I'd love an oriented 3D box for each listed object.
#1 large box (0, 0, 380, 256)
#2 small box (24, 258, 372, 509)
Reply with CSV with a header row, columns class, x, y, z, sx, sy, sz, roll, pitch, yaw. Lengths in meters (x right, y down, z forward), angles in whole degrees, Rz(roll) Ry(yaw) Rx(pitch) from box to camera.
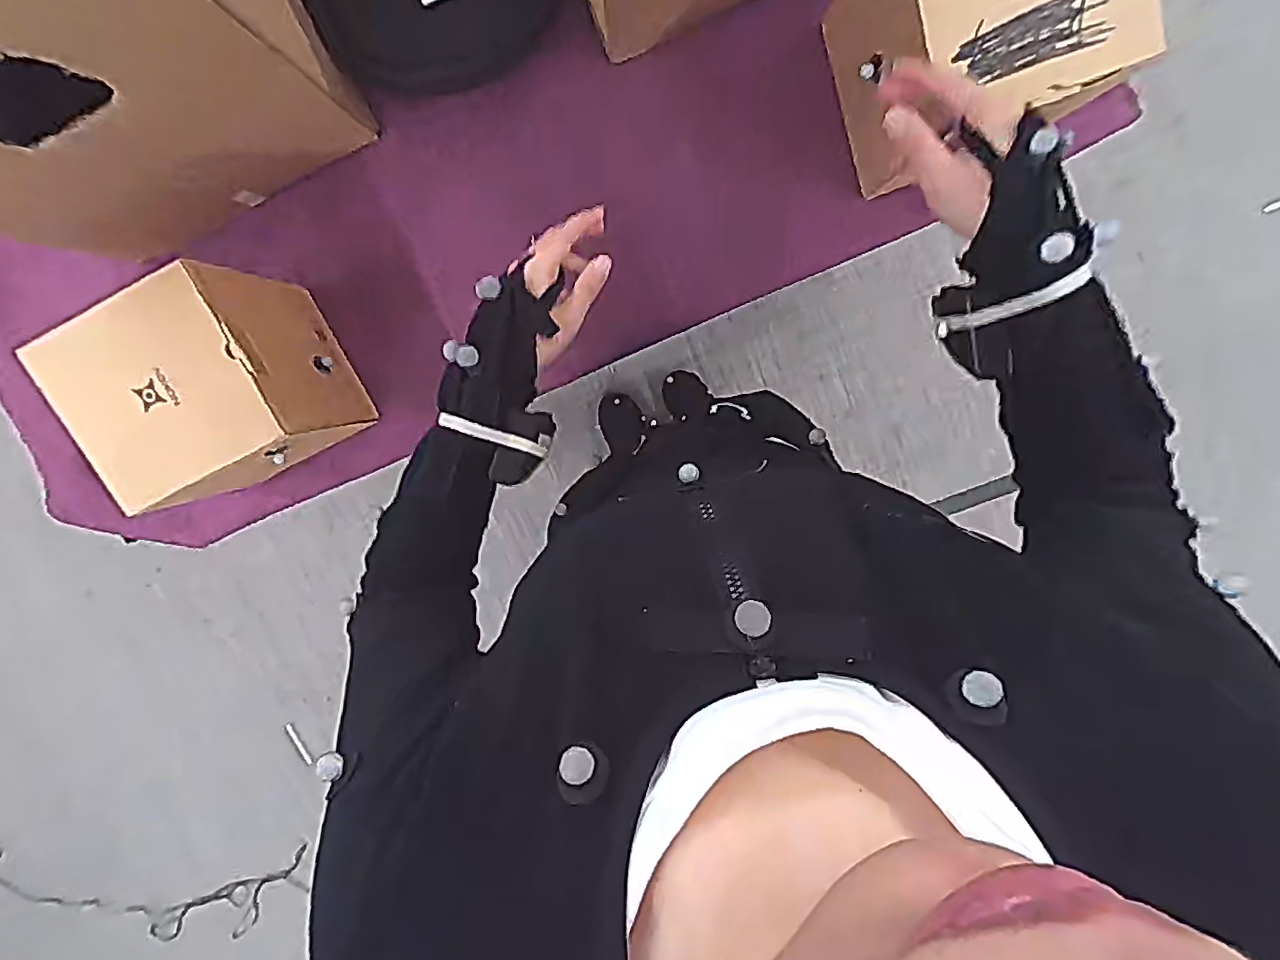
class,x,y,z,sx,sy,sz,roll,pitch,yaw
large box,-0.490,-0.447,0.404,0.320,0.320,0.408,-25,103,6
small box,-0.419,-0.093,0.548,0.179,0.176,0.168,-26,99,5
